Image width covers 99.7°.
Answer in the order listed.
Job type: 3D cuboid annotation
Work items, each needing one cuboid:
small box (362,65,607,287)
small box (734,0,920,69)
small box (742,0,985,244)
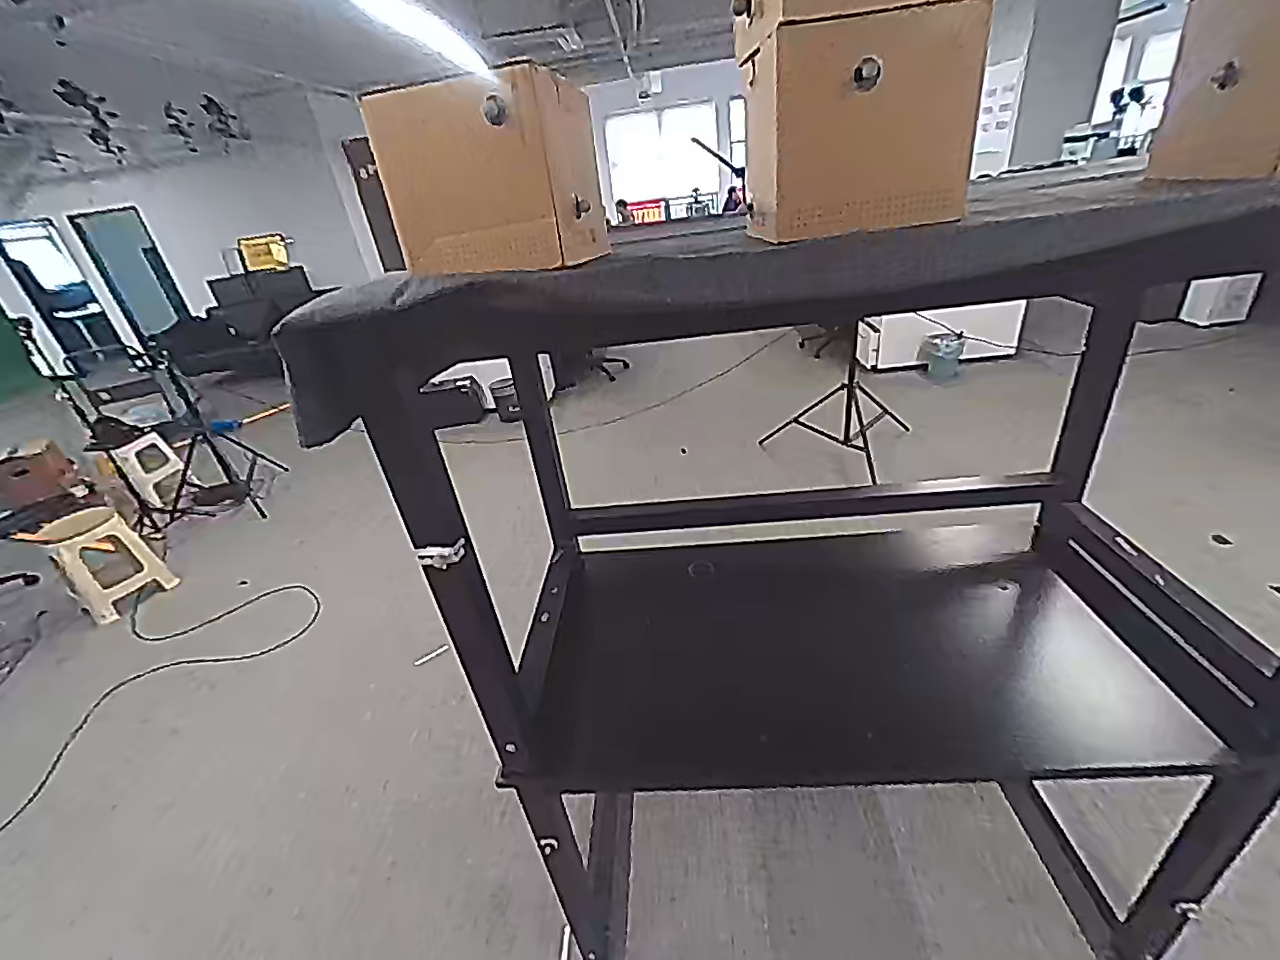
[{"bbox_3d":[-0.147,-0.307,0.577,0.179,0.176,0.168,0,26,14],"label":"small box"},{"bbox_3d":[0.182,-0.486,0.477,0.179,0.176,0.168,-9,26,-1],"label":"small box"},{"bbox_3d":[0.204,-0.339,0.542,0.179,0.176,0.168,-6,27,3],"label":"small box"}]
